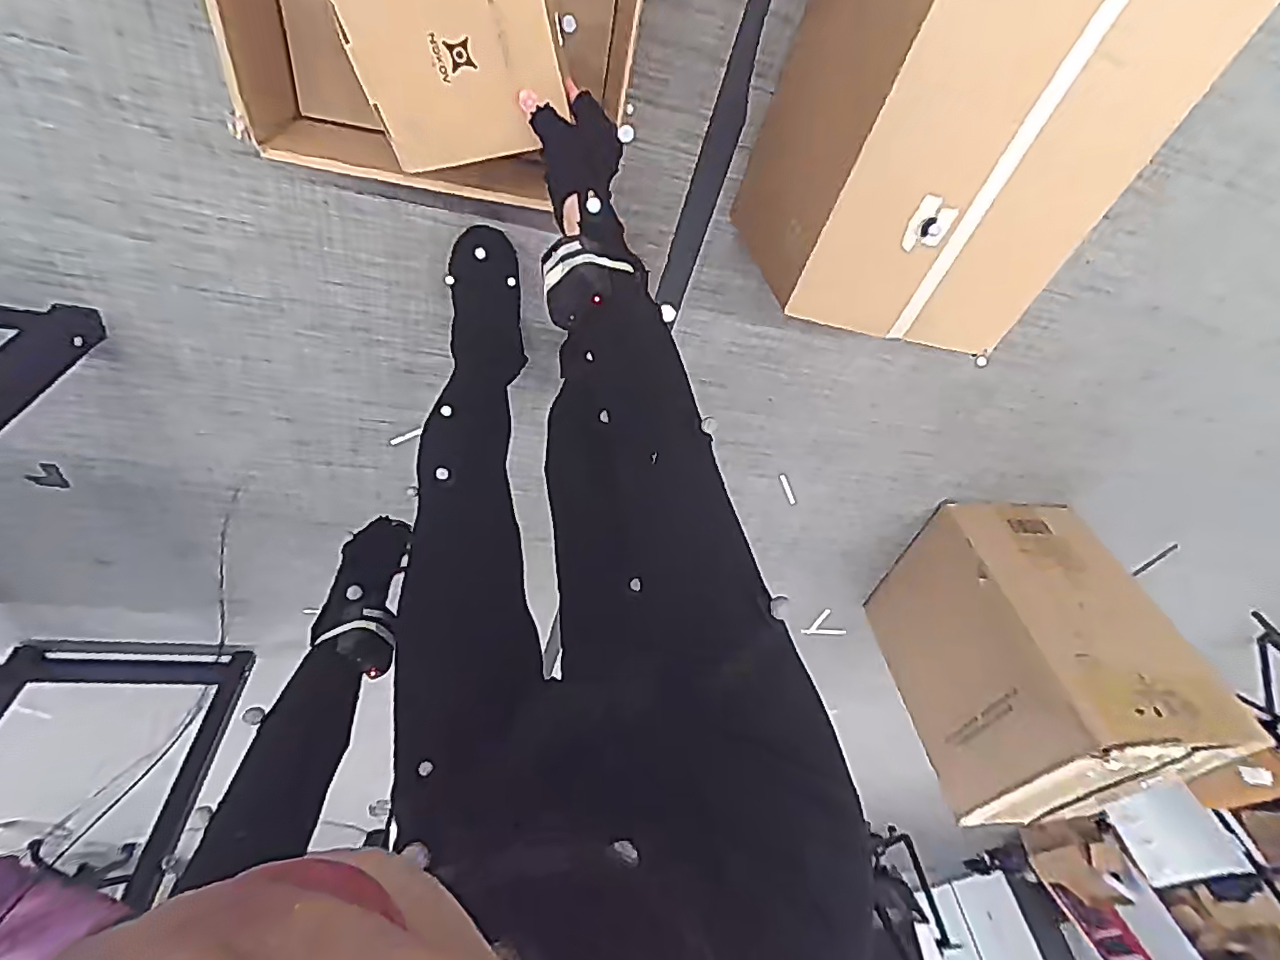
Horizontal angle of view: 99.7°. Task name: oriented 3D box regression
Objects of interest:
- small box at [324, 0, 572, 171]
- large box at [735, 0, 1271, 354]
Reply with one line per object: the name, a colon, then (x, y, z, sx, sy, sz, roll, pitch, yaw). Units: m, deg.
small box: (-0.167, -0.425, 0.514, 0.179, 0.176, 0.168, -10, 139, 4)
large box: (0.355, -0.428, 0.661, 0.320, 0.320, 0.408, 7, 135, -14)
